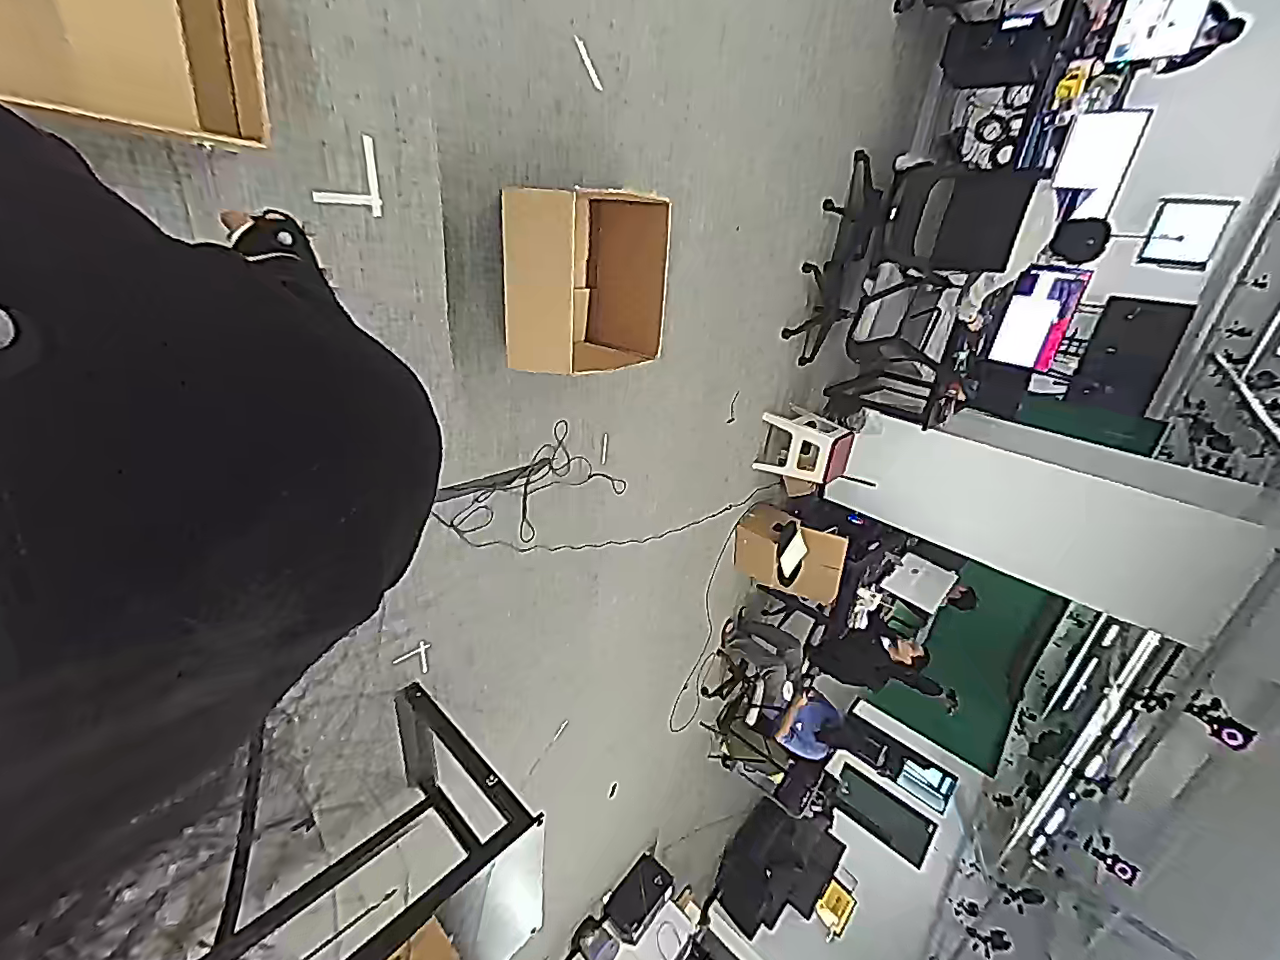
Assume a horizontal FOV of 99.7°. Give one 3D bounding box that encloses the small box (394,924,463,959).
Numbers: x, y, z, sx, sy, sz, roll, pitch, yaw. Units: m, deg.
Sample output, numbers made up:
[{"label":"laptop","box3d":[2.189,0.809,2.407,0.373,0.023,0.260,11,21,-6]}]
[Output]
[{"label":"small box","box3d":[-0.508,1.226,1.296,0.168,0.176,0.179,-28,131,-40]}]
